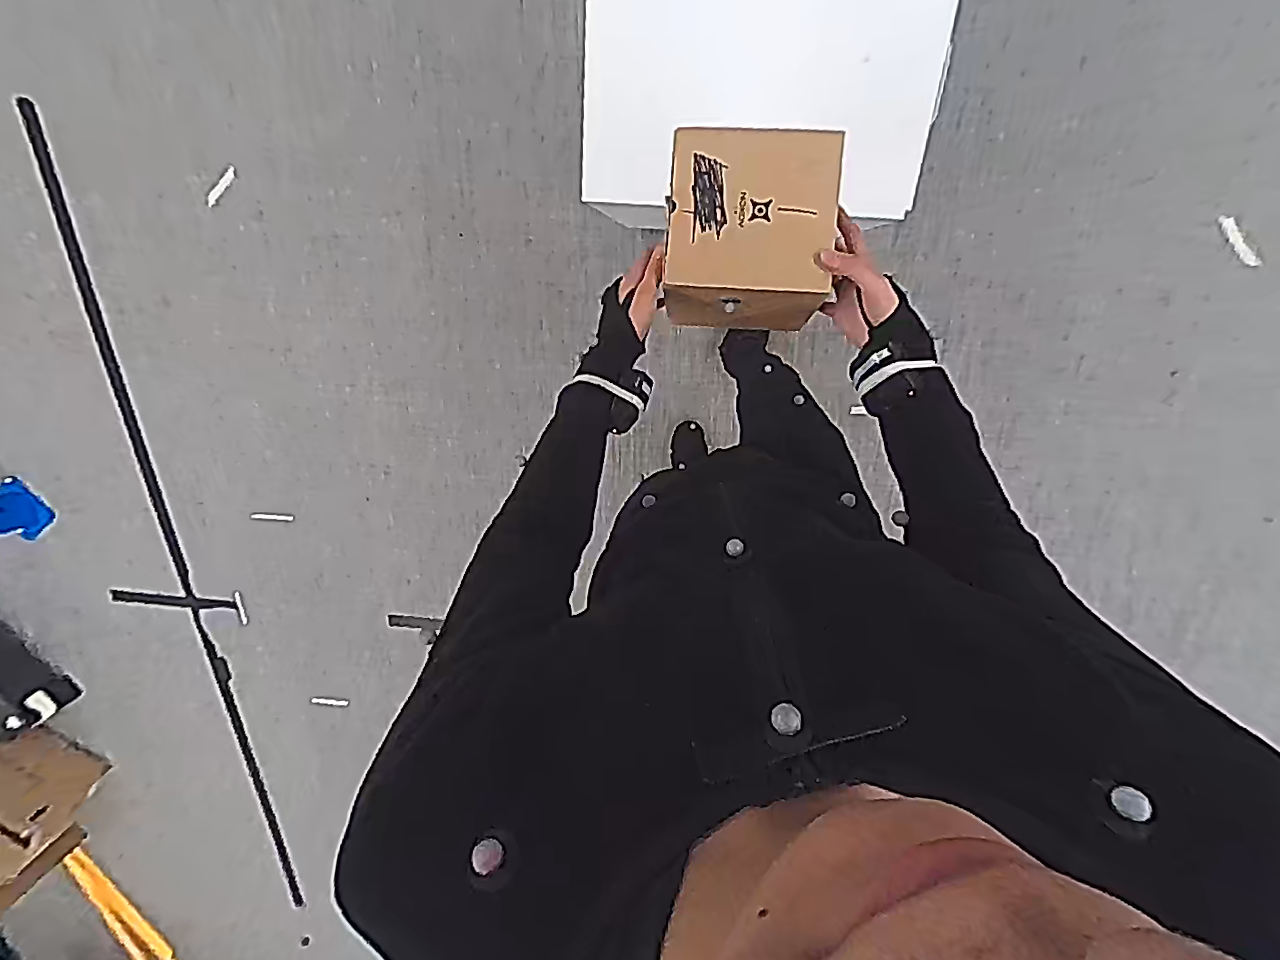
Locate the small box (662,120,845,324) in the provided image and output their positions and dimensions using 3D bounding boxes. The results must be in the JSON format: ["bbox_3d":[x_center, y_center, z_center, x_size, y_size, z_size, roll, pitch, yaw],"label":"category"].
[{"bbox_3d":[0.124,-0.289,0.638,0.179,0.176,0.168,4,92,5],"label":"small box"}]
